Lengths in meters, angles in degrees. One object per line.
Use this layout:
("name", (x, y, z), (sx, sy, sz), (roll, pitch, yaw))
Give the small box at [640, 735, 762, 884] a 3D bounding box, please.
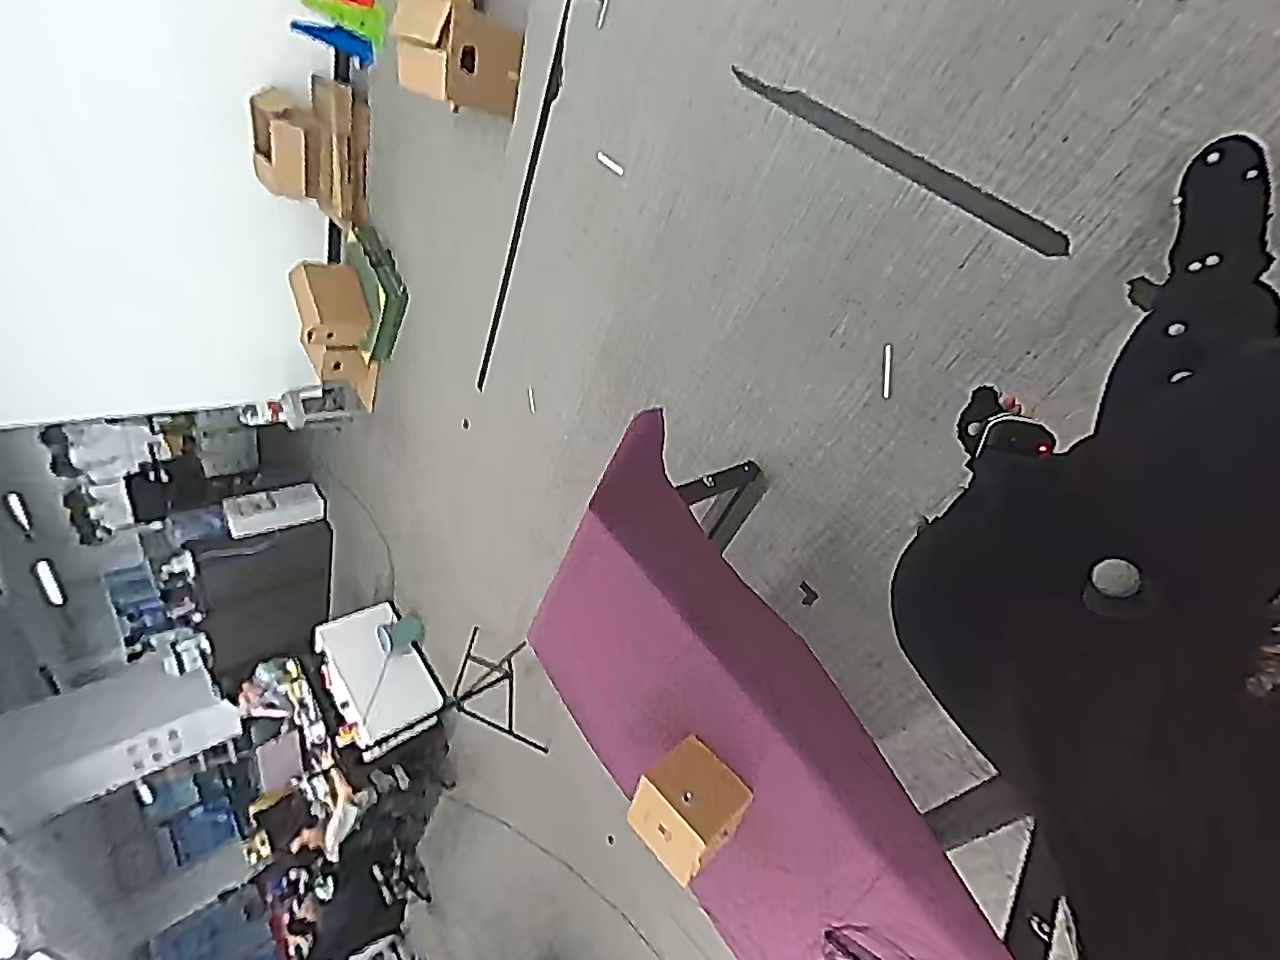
("small box", (0.131, 0.690, 1.153), (0.179, 0.176, 0.168), (35, 124, 35))
